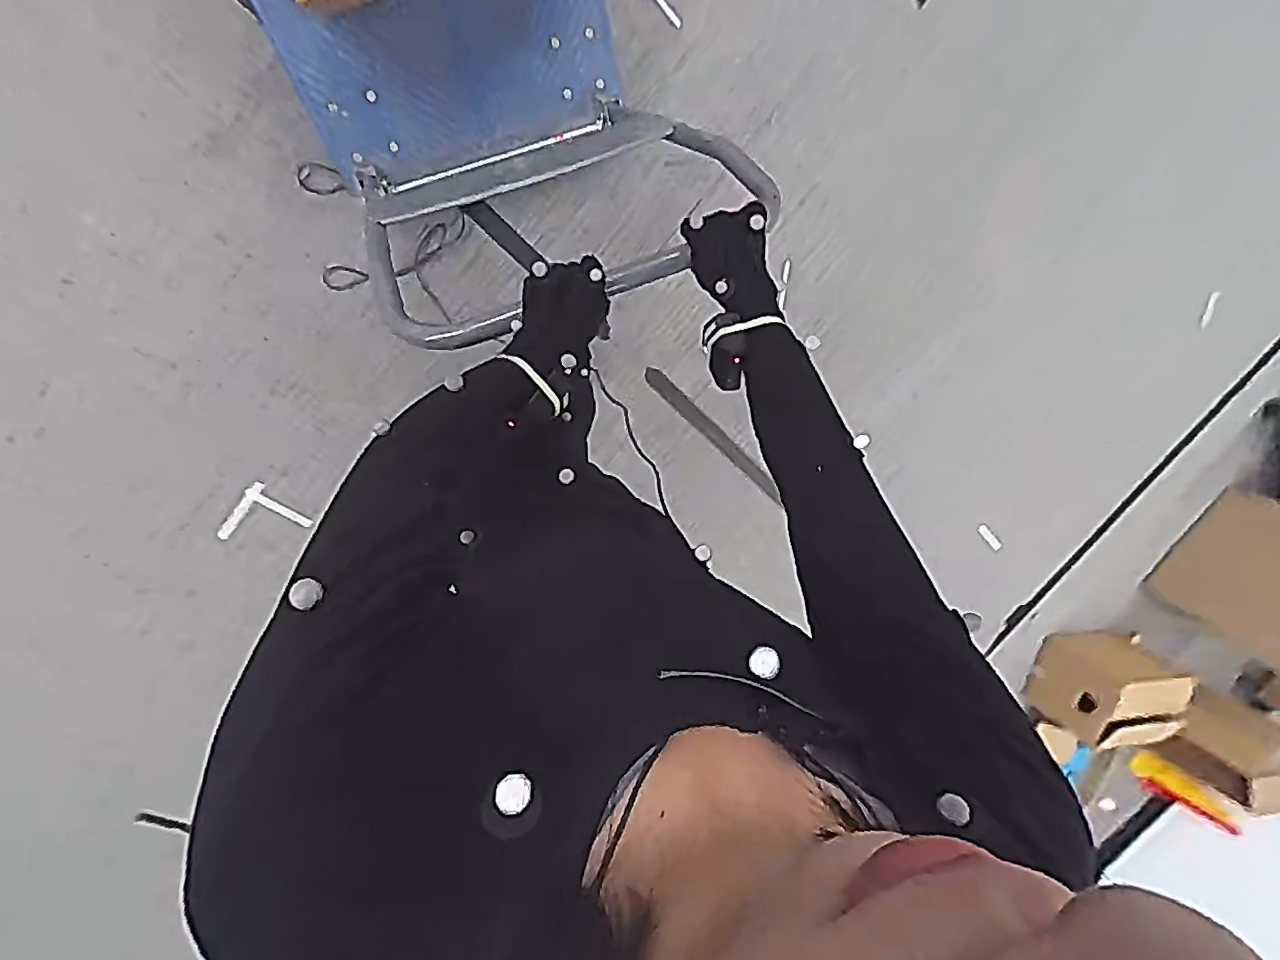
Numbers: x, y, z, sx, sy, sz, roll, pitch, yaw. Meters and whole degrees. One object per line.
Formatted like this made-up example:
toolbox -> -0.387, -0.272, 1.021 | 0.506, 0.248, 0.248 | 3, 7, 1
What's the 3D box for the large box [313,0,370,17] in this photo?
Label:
large box -> -0.345, -0.879, 0.694 | 0.408, 0.320, 0.320 | -29, 132, -4
